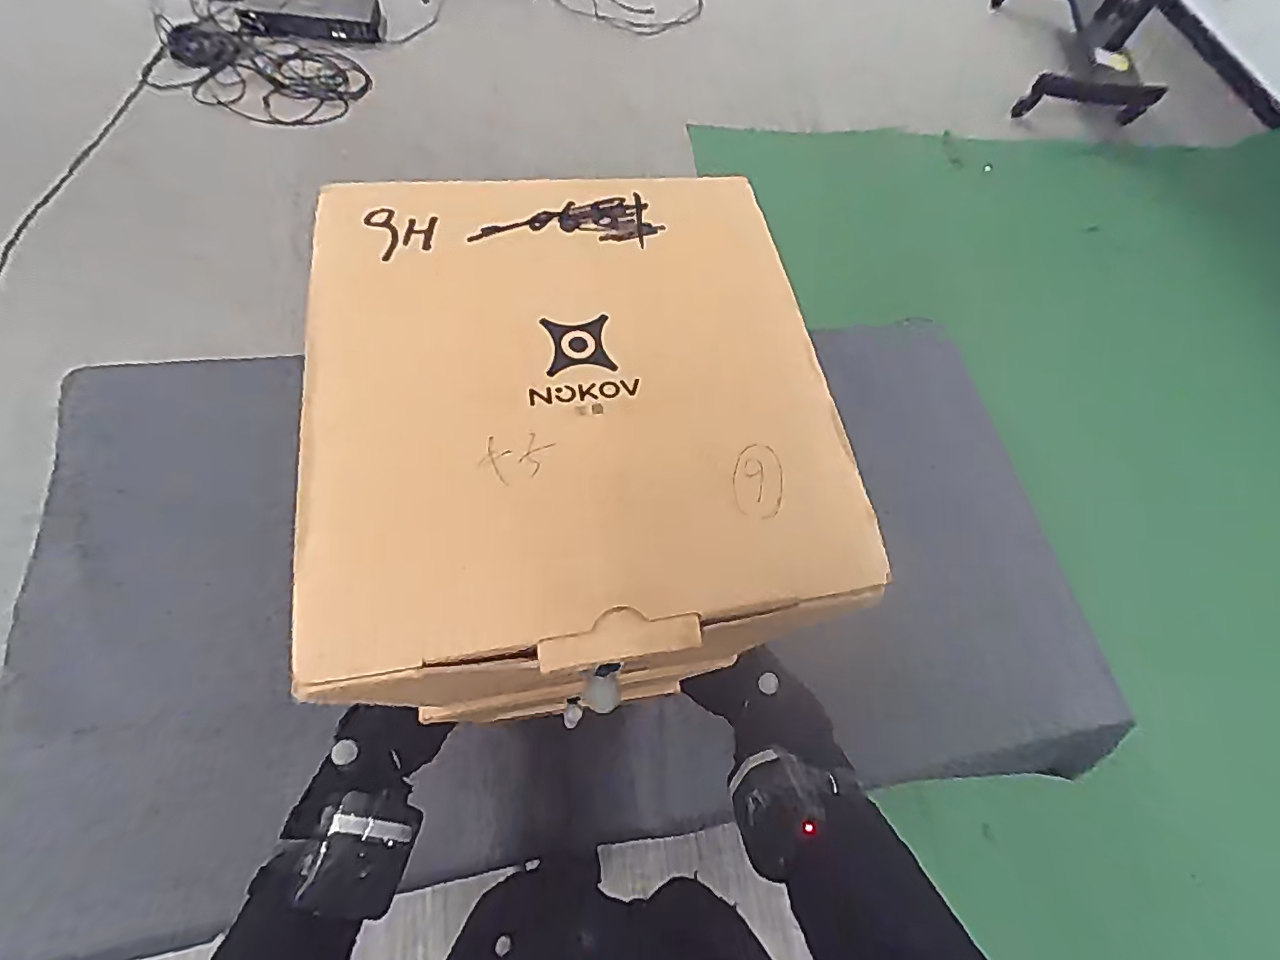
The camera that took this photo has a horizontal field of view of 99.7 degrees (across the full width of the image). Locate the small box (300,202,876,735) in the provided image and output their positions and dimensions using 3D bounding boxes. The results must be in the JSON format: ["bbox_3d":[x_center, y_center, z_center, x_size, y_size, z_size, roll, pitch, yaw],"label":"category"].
[{"bbox_3d":[-0.030,0.005,0.253,0.168,0.176,0.179,-7,69,-11],"label":"small box"}]
